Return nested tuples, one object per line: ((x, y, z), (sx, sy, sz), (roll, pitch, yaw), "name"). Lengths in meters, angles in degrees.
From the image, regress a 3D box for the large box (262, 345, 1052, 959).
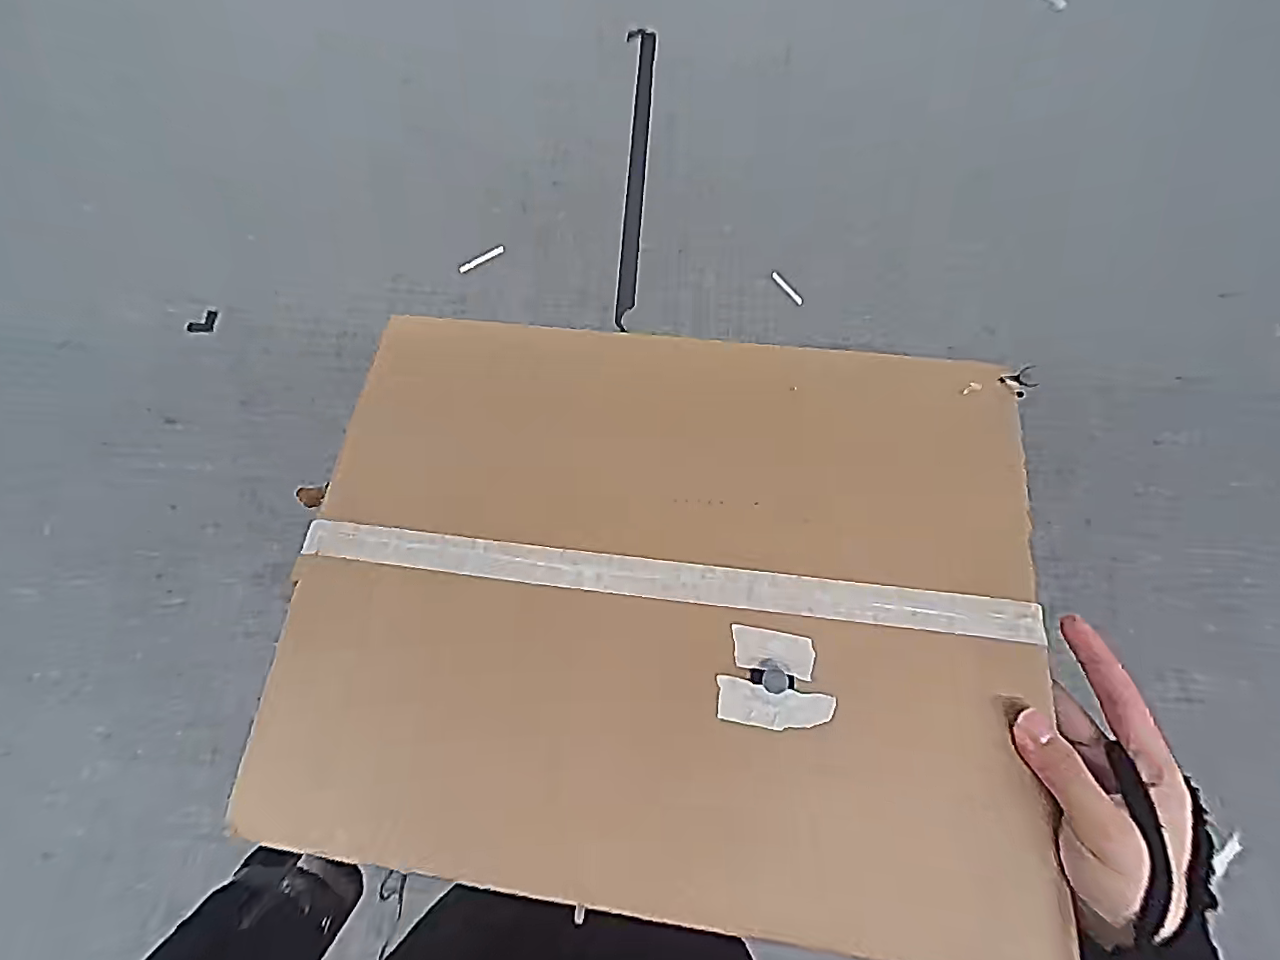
((0.019, 0.114, 0.455), (0.408, 0.320, 0.320), (6, 72, 5), "large box")
